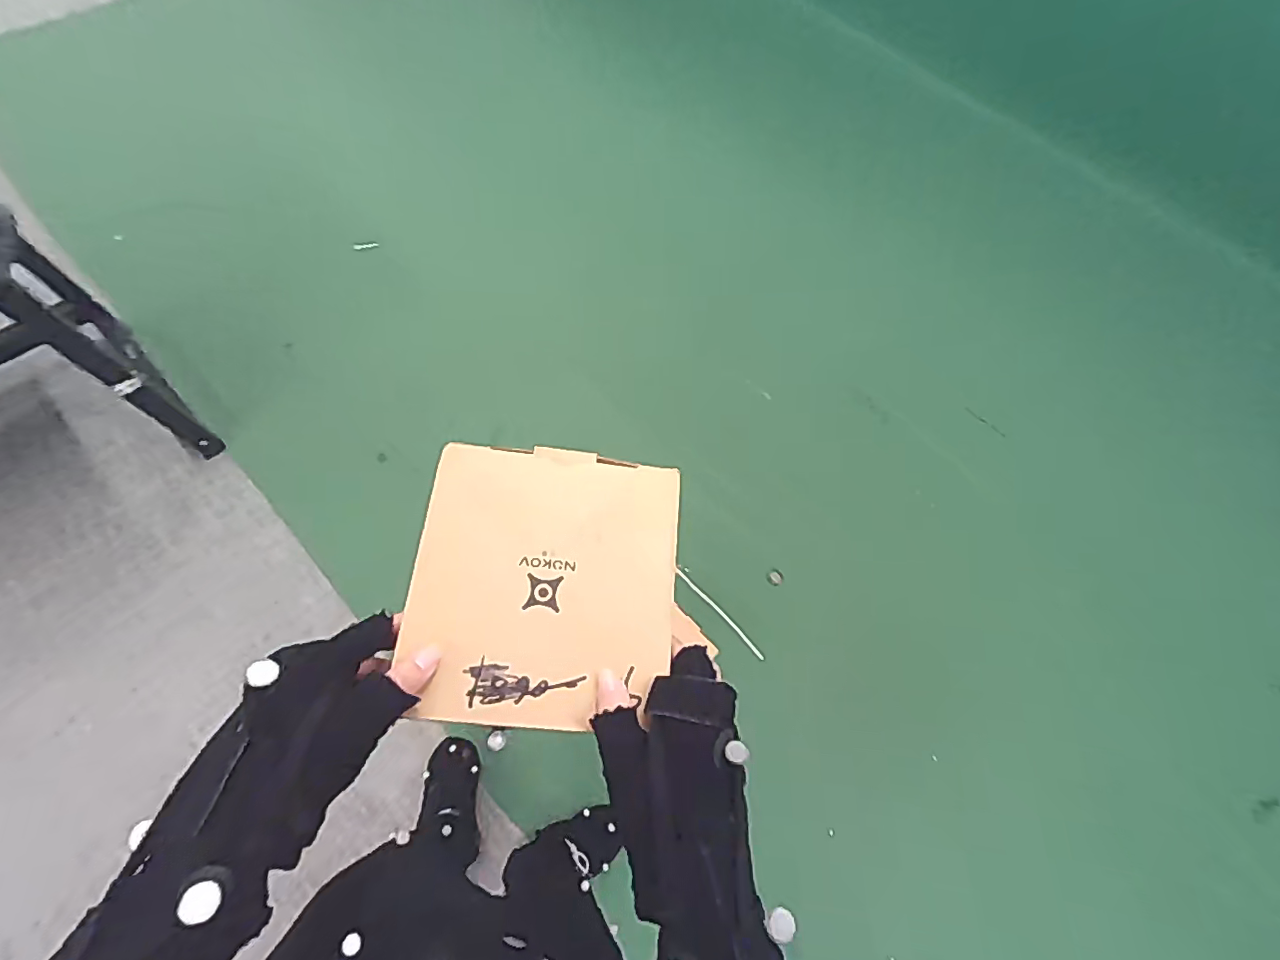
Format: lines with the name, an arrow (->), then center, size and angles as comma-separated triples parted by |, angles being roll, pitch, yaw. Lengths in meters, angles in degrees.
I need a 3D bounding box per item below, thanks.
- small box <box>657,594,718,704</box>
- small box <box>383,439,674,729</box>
small box -> 0.052, 0.397, 1.258 | 0.179, 0.176, 0.168 | -39, 73, -18
small box -> -0.073, 0.089, 0.425 | 0.168, 0.176, 0.179 | 7, 69, -4
